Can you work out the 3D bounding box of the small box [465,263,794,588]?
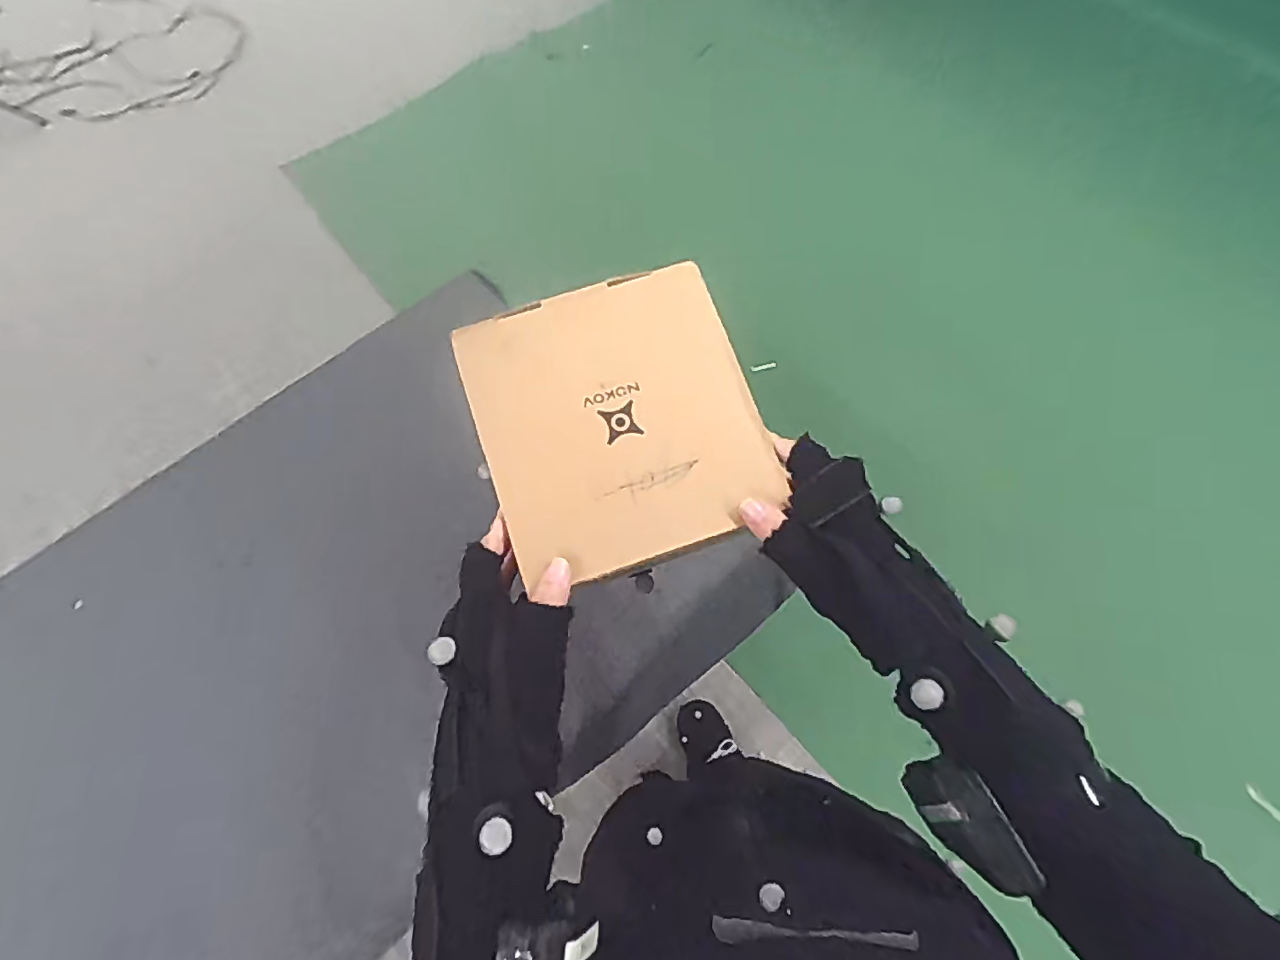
[{"bbox_3d":[-0.012,-0.024,0.409,0.168,0.176,0.179,-17,80,-5],"label":"small box"}]
